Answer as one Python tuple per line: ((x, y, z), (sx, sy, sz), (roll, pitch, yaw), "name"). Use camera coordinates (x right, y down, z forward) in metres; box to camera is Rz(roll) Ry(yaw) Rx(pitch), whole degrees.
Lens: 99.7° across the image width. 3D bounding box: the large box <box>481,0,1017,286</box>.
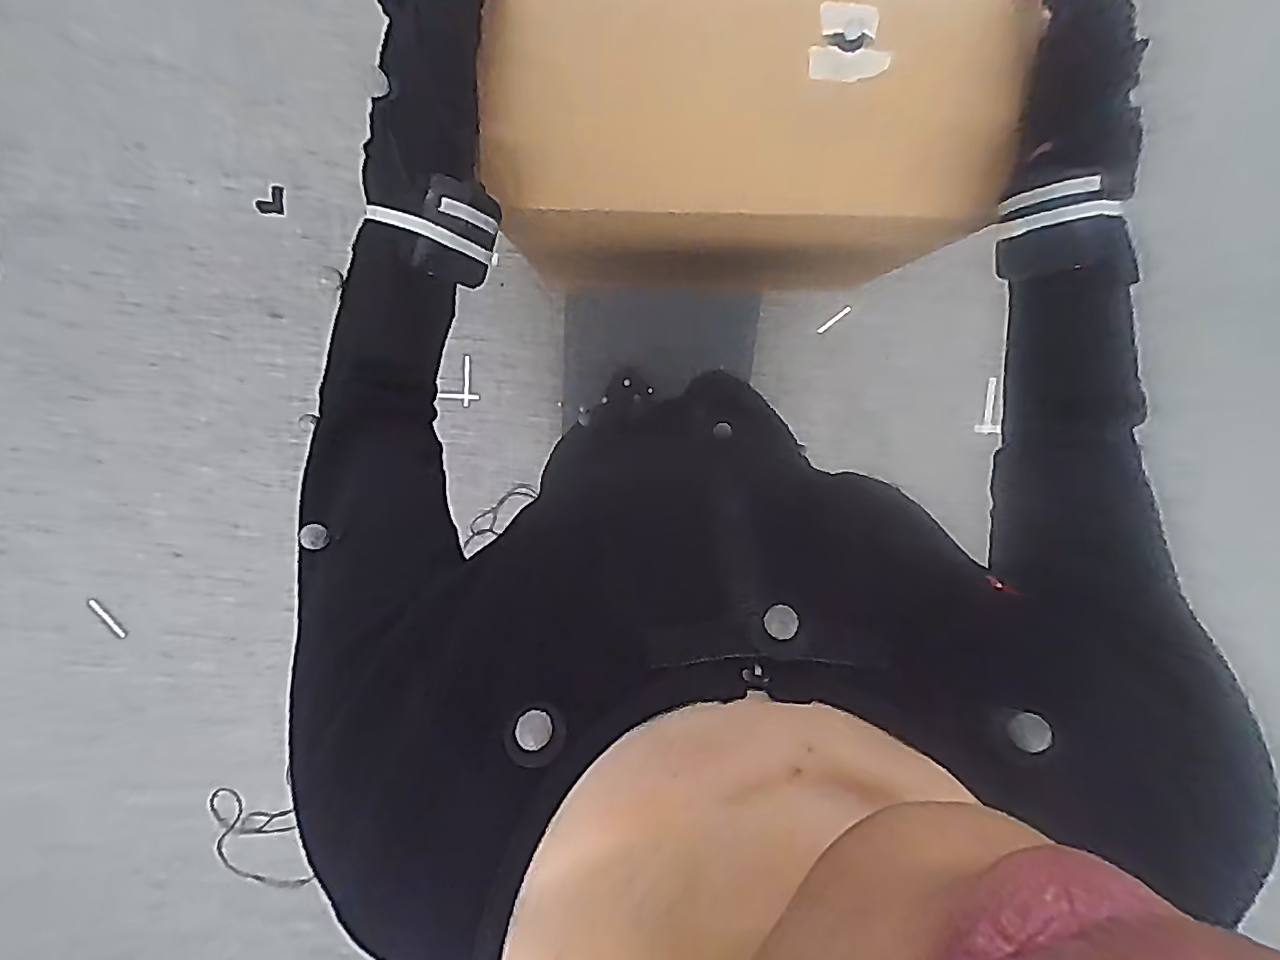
((0.077, -0.386, 0.543), (0.408, 0.320, 0.320), (1, 100, -1), "large box")
